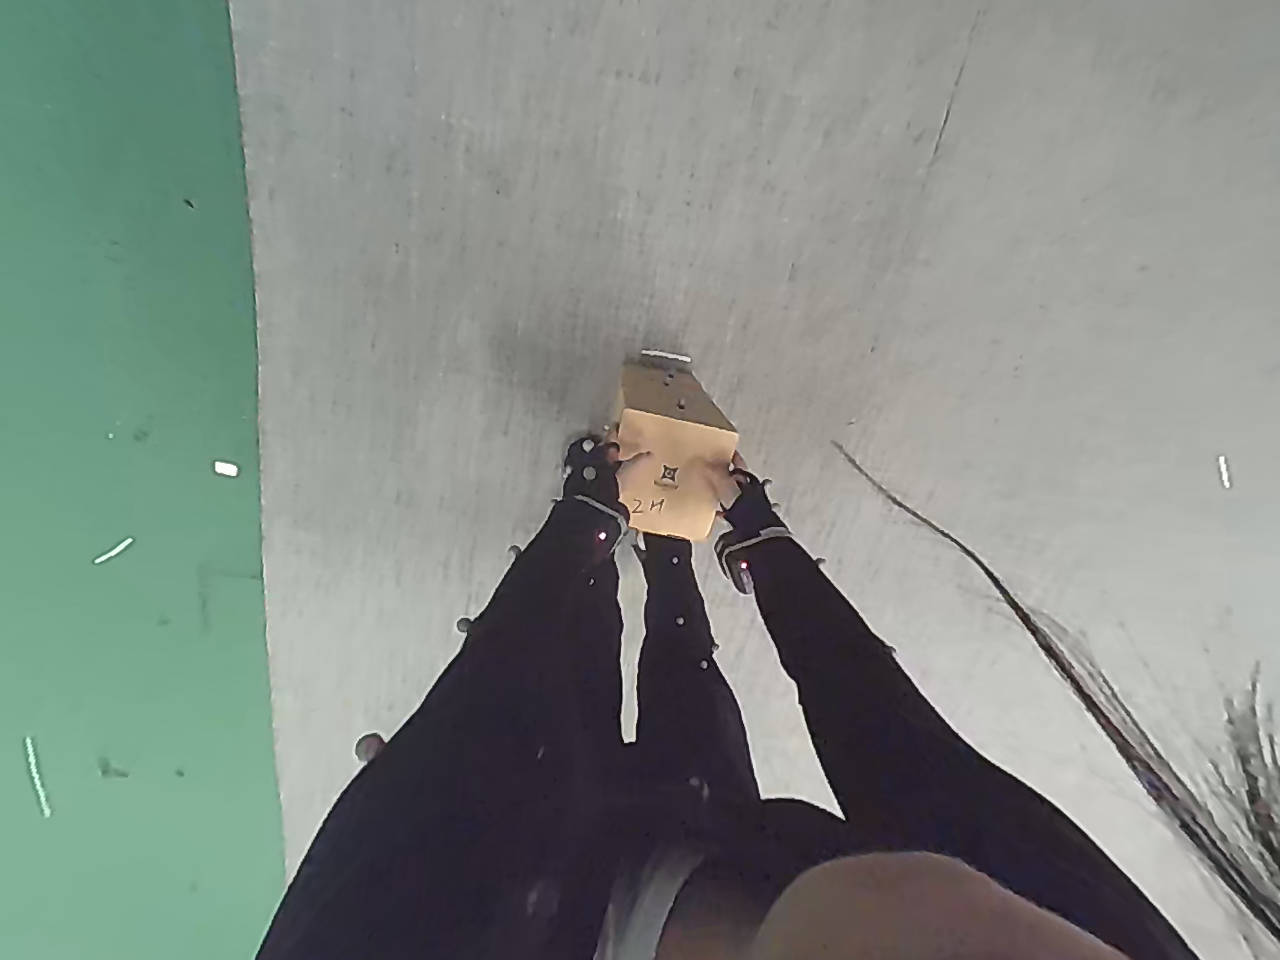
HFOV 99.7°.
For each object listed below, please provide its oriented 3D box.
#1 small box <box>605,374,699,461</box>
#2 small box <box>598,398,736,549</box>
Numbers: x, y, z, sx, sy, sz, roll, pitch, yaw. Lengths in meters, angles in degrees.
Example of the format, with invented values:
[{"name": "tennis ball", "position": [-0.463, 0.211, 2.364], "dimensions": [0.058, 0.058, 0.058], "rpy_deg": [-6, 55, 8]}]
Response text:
[{"name": "small box", "position": [0.017, -0.123, 1.153], "dimensions": [0.168, 0.176, 0.179], "rpy_deg": [9, 108, -6]}, {"name": "small box", "position": [0.032, -0.019, 0.841], "dimensions": [0.168, 0.176, 0.179], "rpy_deg": [12, 108, -7]}]
